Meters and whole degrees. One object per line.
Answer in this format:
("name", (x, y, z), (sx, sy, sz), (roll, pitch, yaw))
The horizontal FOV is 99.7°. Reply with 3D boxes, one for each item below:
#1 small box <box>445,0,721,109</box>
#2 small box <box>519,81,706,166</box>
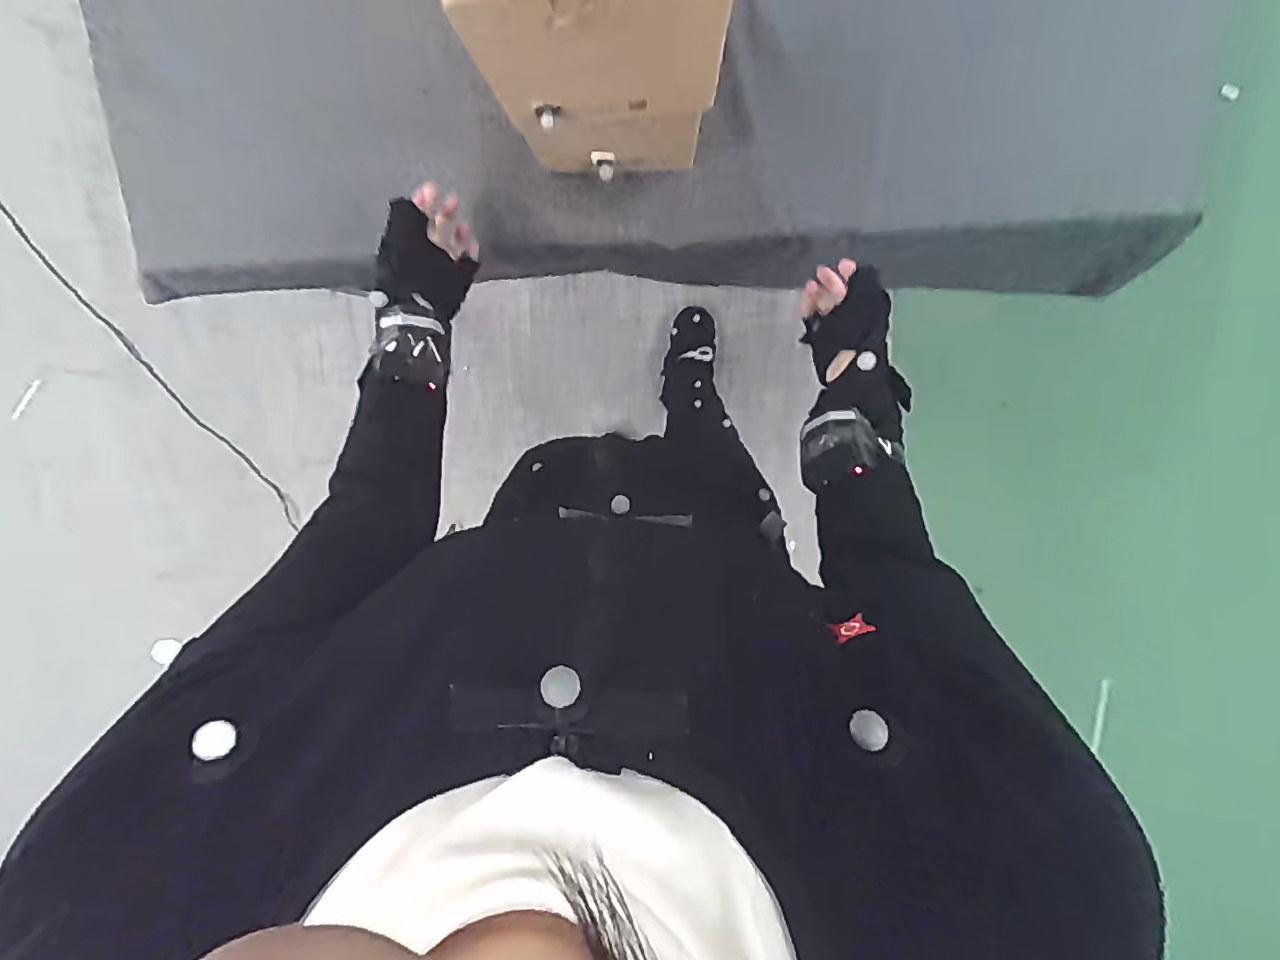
("small box", (-0.036, -0.375, 0.354), (0.168, 0.176, 0.179), (-7, 102, 4))
("small box", (-0.025, -0.422, 0.511), (0.168, 0.176, 0.179), (-1, 103, 3))
